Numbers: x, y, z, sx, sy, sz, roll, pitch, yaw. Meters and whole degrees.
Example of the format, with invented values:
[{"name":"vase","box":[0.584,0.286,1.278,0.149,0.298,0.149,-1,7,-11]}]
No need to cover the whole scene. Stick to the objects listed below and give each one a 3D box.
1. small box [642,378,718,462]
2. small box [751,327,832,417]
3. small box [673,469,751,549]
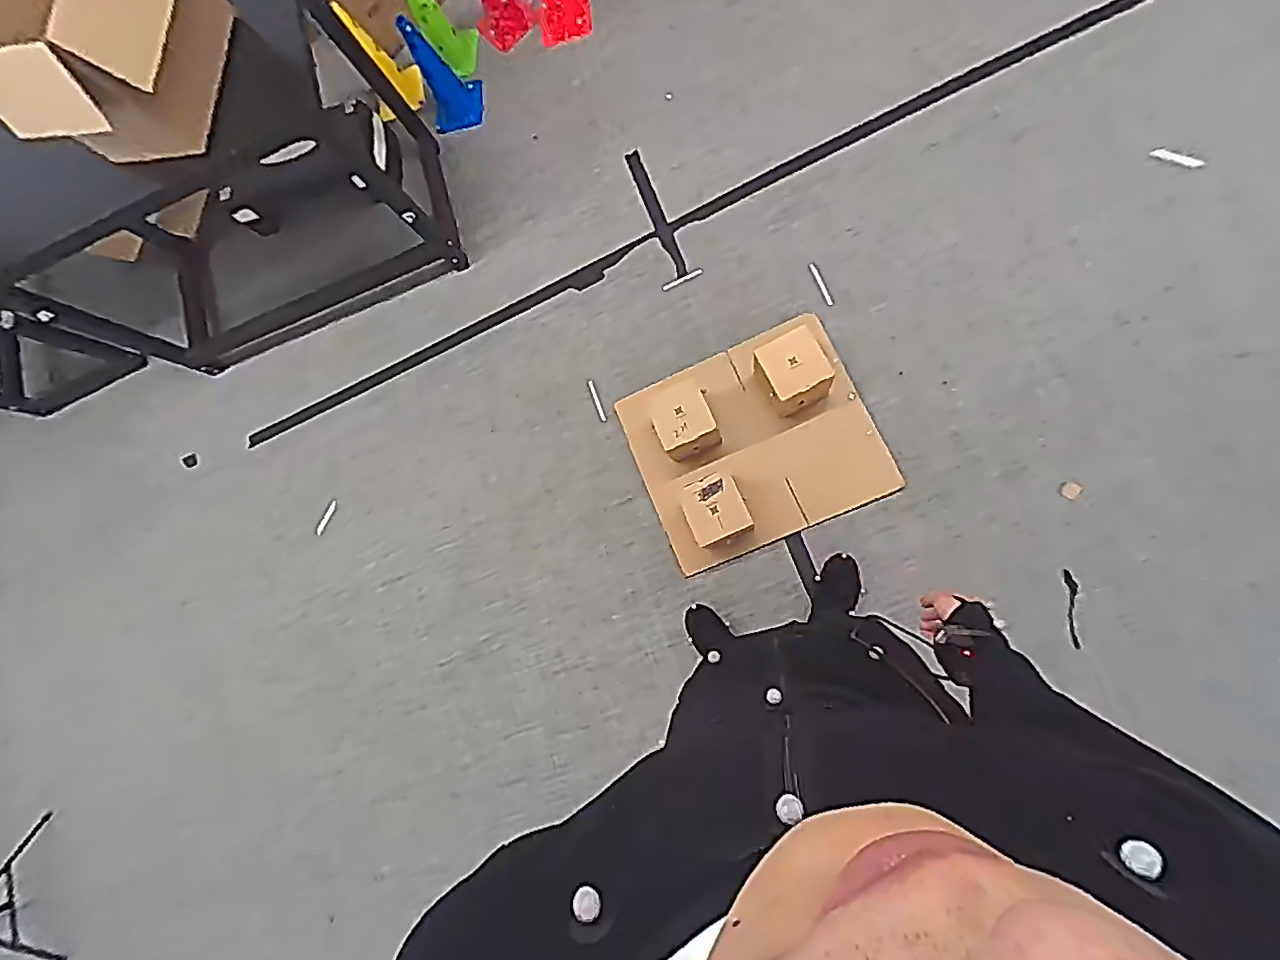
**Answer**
[{"name":"small box","box":[0.123,-0.173,1.628,0.168,0.176,0.179,-25,77,8]},{"name":"small box","box":[0.436,-0.309,1.587,0.168,0.176,0.179,-28,77,7]},{"name":"small box","box":[0.212,0.091,1.569,0.168,0.176,0.179,-26,78,8]}]
